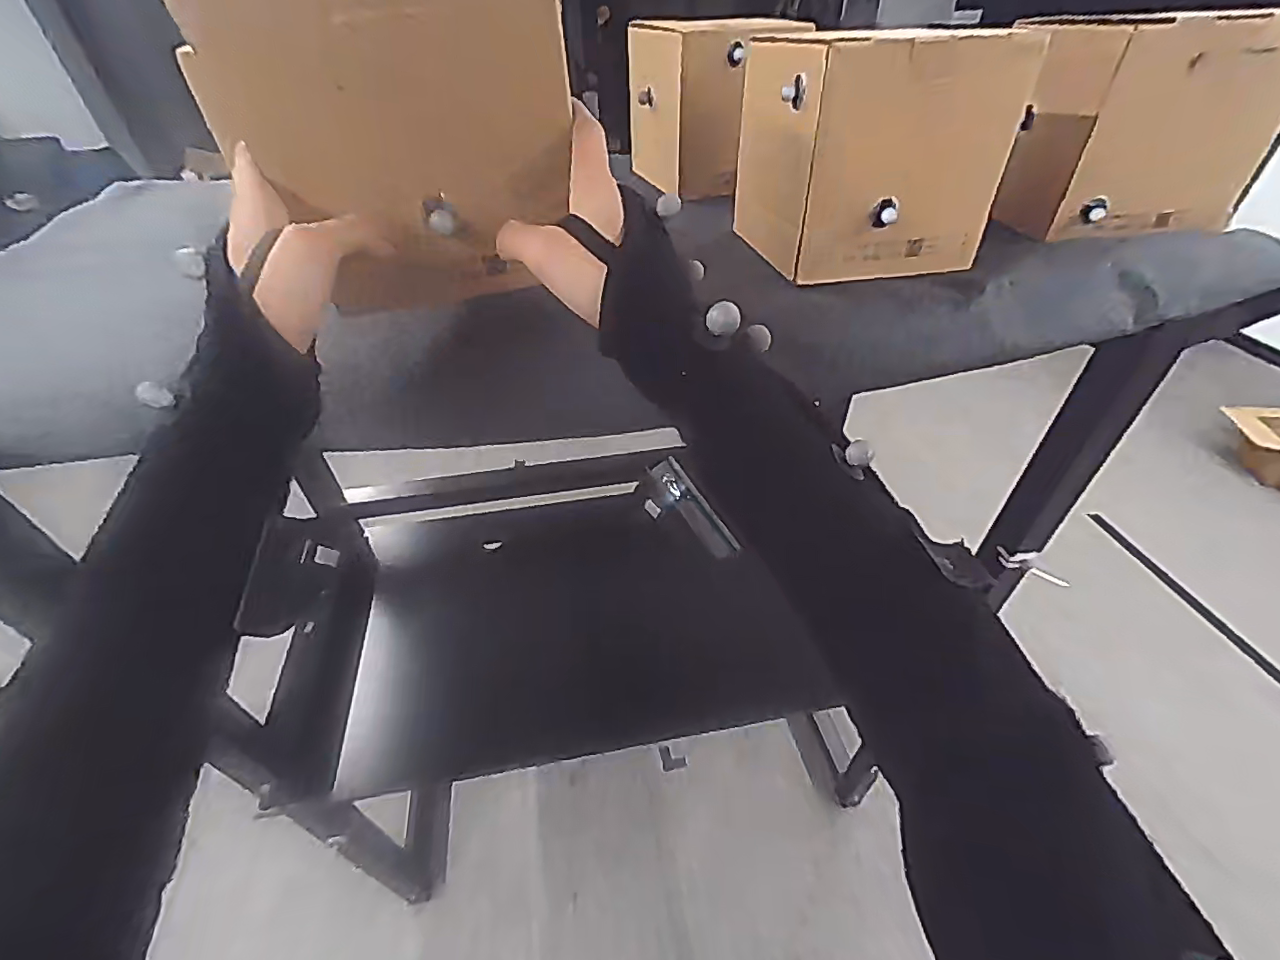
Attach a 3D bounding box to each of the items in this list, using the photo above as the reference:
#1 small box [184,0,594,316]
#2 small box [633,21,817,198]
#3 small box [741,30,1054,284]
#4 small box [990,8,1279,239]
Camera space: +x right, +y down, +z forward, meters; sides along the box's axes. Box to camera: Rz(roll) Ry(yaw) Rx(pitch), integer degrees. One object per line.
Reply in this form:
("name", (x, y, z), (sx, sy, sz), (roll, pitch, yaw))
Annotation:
("small box", (-0.129, -0.231, 0.340), (0.168, 0.176, 0.179), (-13, 53, -7))
("small box", (0.095, -0.476, 0.694), (0.168, 0.176, 0.179), (-15, 43, -14))
("small box", (0.197, -0.289, 0.482), (0.168, 0.176, 0.179), (-8, 41, -7))
("small box", (0.464, -0.344, 0.530), (0.168, 0.176, 0.179), (-3, 40, 0))
